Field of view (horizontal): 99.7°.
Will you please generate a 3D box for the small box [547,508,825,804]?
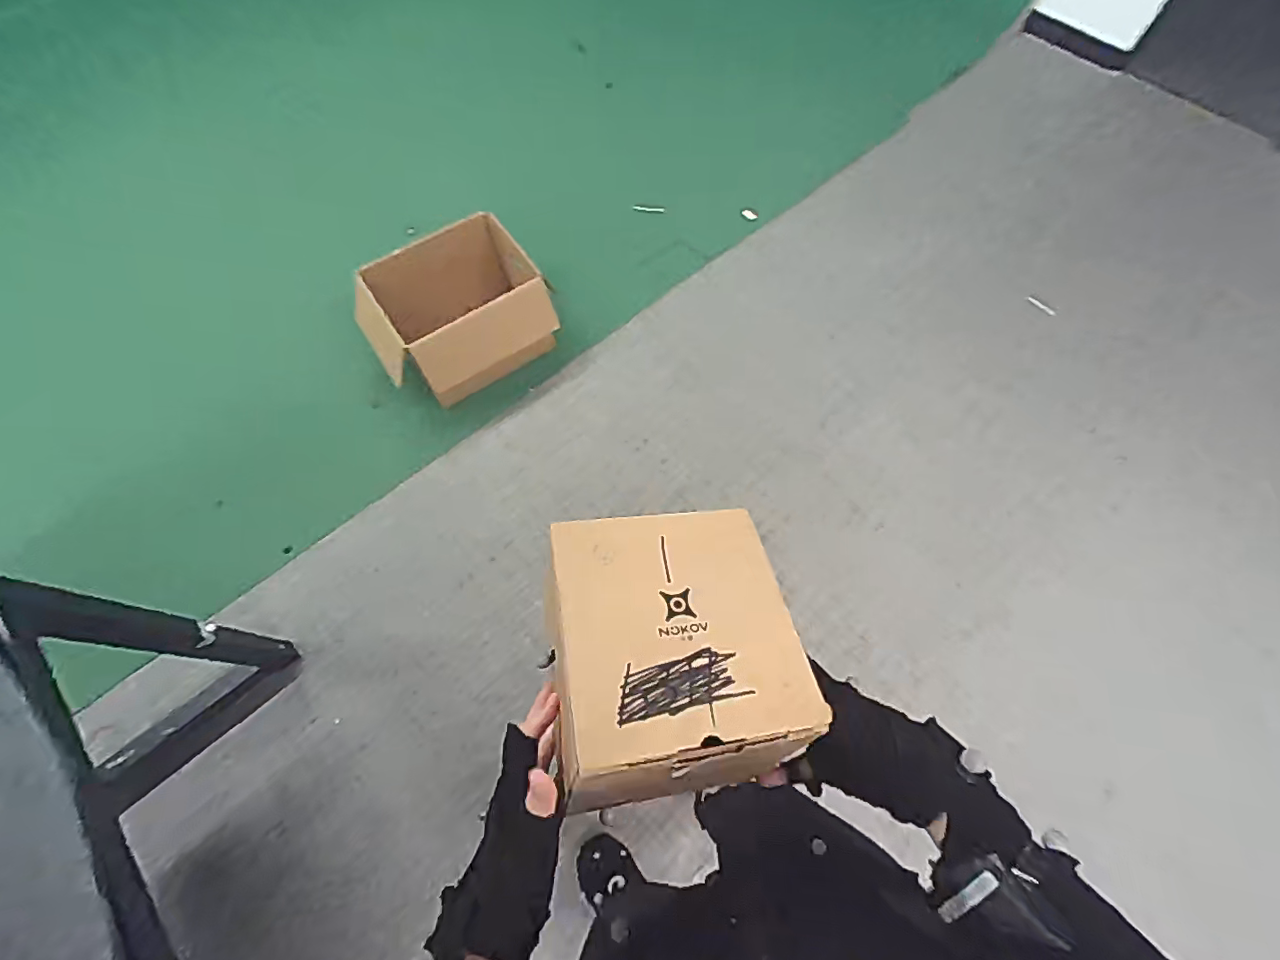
[{"bbox_3d":[0.014,0.144,0.437,0.168,0.176,0.179,-2,50,-14],"label":"small box"}]
